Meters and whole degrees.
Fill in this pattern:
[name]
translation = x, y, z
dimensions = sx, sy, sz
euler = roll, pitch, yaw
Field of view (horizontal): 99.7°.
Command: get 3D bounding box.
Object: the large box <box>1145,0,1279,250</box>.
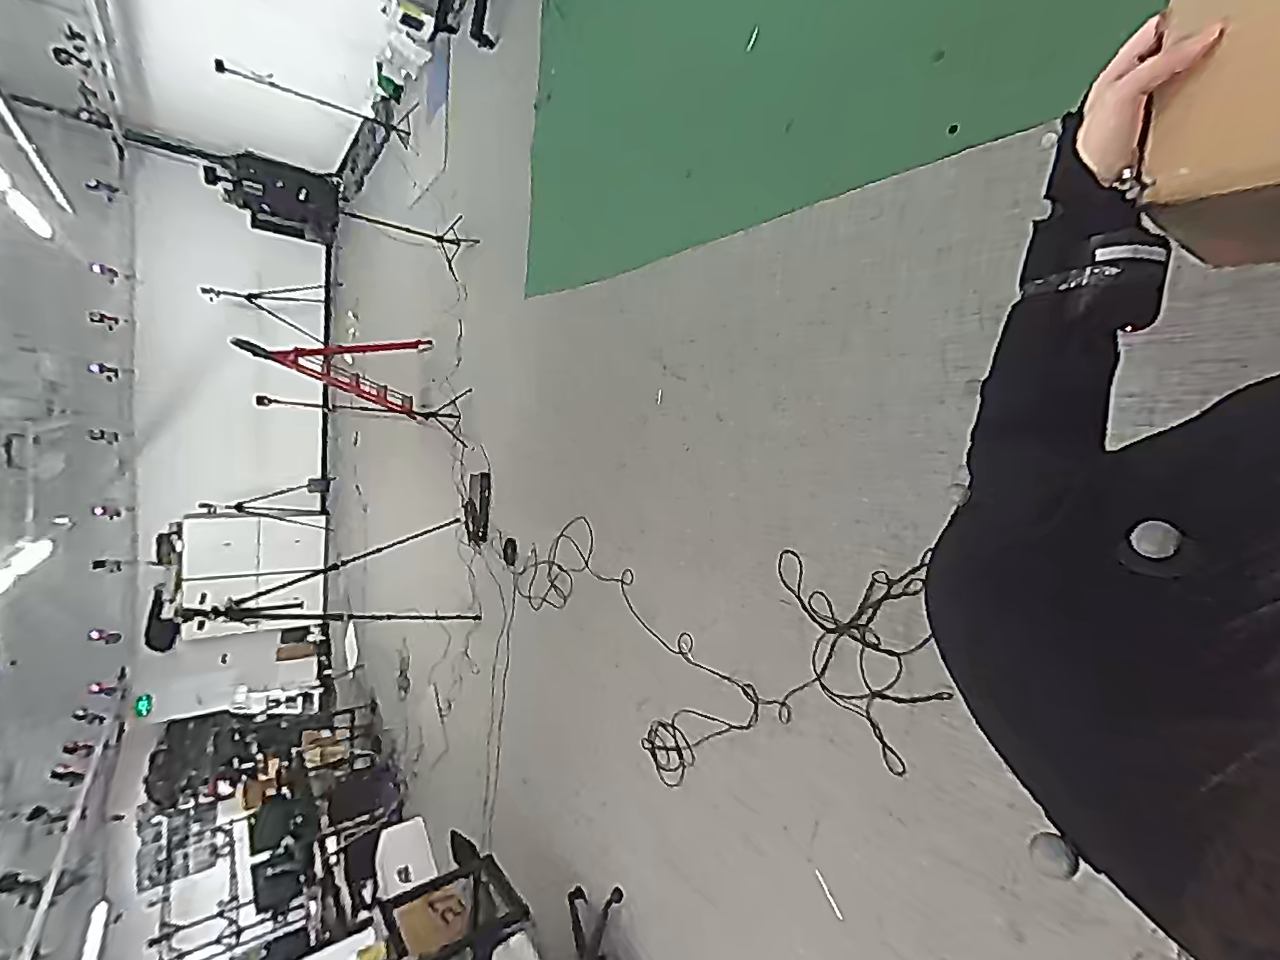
[large box]
translation = 0.628, -0.350, 0.315
dimensions = 0.408, 0.320, 0.320
euler = 15, 107, 54
